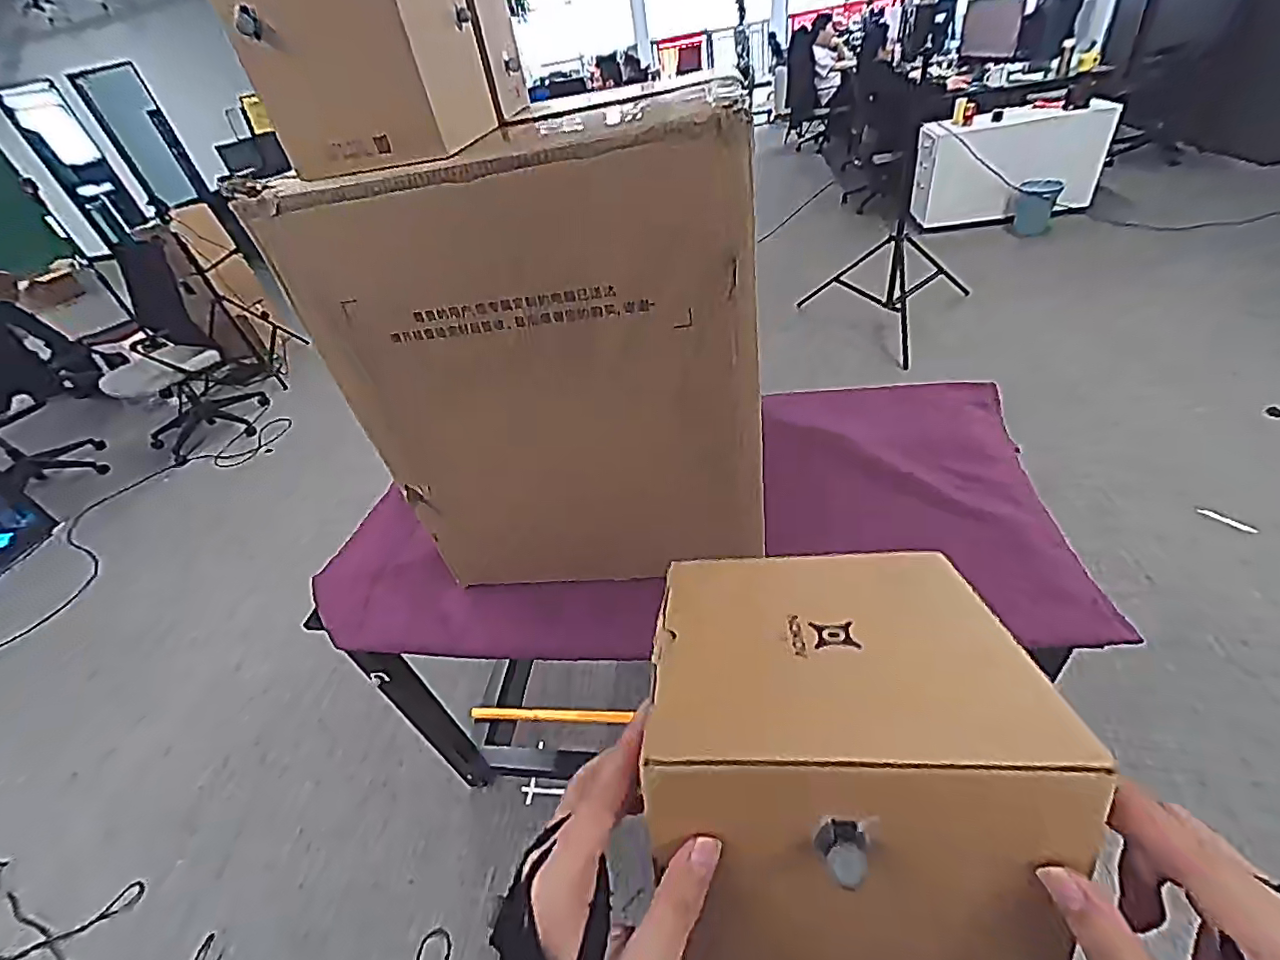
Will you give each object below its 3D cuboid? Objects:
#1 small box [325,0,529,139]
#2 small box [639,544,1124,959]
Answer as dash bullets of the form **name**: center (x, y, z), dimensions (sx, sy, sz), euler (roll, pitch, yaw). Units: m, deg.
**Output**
- **small box**: center (-0.258, -0.545, 0.679), dimensions (0.179, 0.176, 0.168), euler (-4, 40, 7)
- **small box**: center (0.104, 0.151, 0.302), dimensions (0.179, 0.176, 0.168), euler (-4, 20, 9)
